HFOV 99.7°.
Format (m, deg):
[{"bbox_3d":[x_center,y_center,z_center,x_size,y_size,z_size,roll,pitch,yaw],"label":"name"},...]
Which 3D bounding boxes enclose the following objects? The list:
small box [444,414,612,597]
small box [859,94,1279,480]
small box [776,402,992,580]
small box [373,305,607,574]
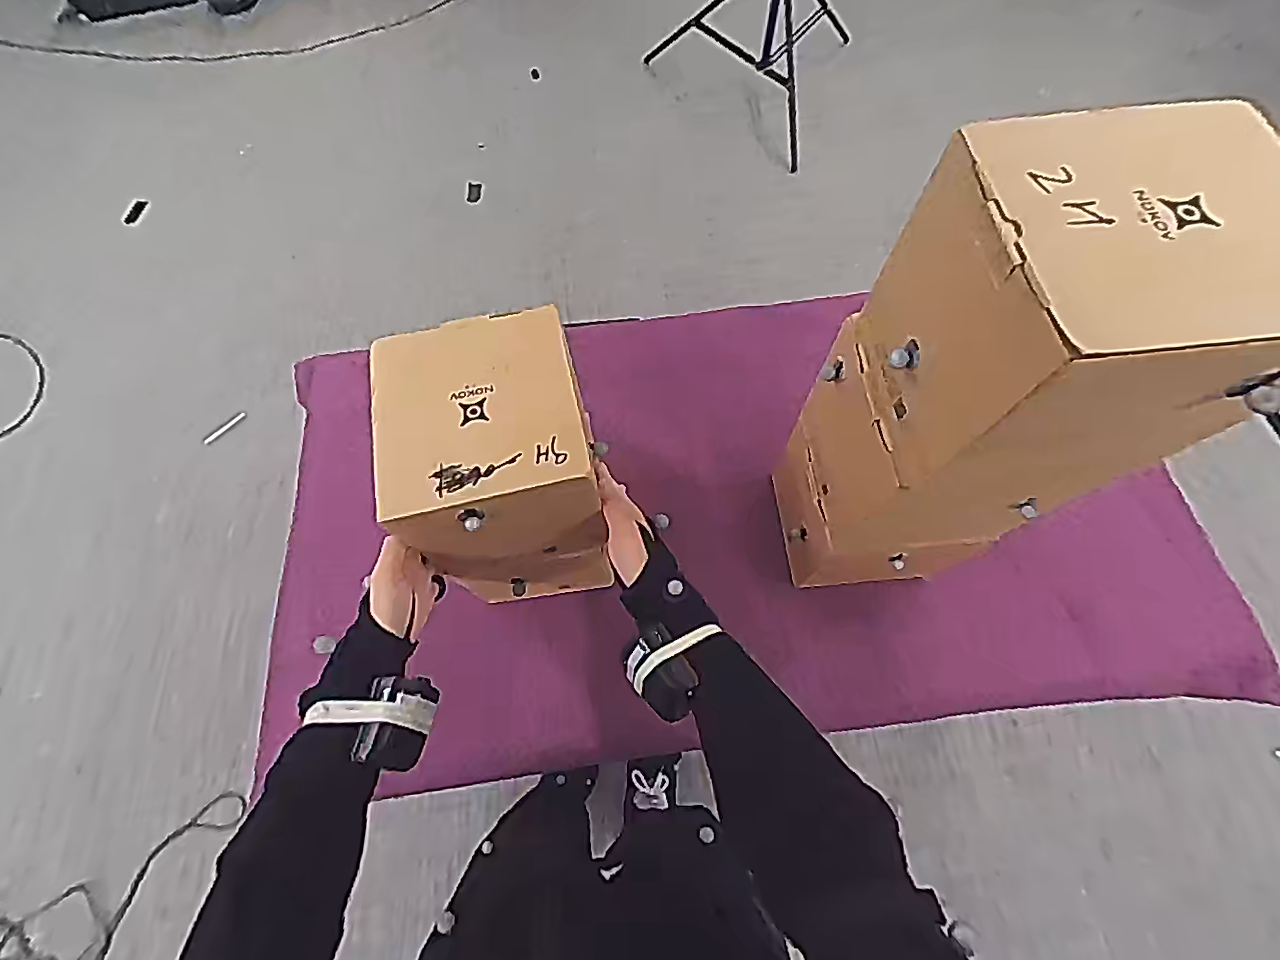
[{"bbox_3d":[-0.130,0.039,0.664,0.168,0.176,0.179,-8,66,-2],"label":"small box"},{"bbox_3d":[0.274,-0.111,0.357,0.179,0.176,0.168,-6,66,-1],"label":"small box"},{"bbox_3d":[0.274,0.020,0.660,0.179,0.176,0.168,-5,67,-1],"label":"small box"},{"bbox_3d":[-0.132,-0.030,0.513,0.168,0.176,0.179,-13,65,-3],"label":"small box"}]
